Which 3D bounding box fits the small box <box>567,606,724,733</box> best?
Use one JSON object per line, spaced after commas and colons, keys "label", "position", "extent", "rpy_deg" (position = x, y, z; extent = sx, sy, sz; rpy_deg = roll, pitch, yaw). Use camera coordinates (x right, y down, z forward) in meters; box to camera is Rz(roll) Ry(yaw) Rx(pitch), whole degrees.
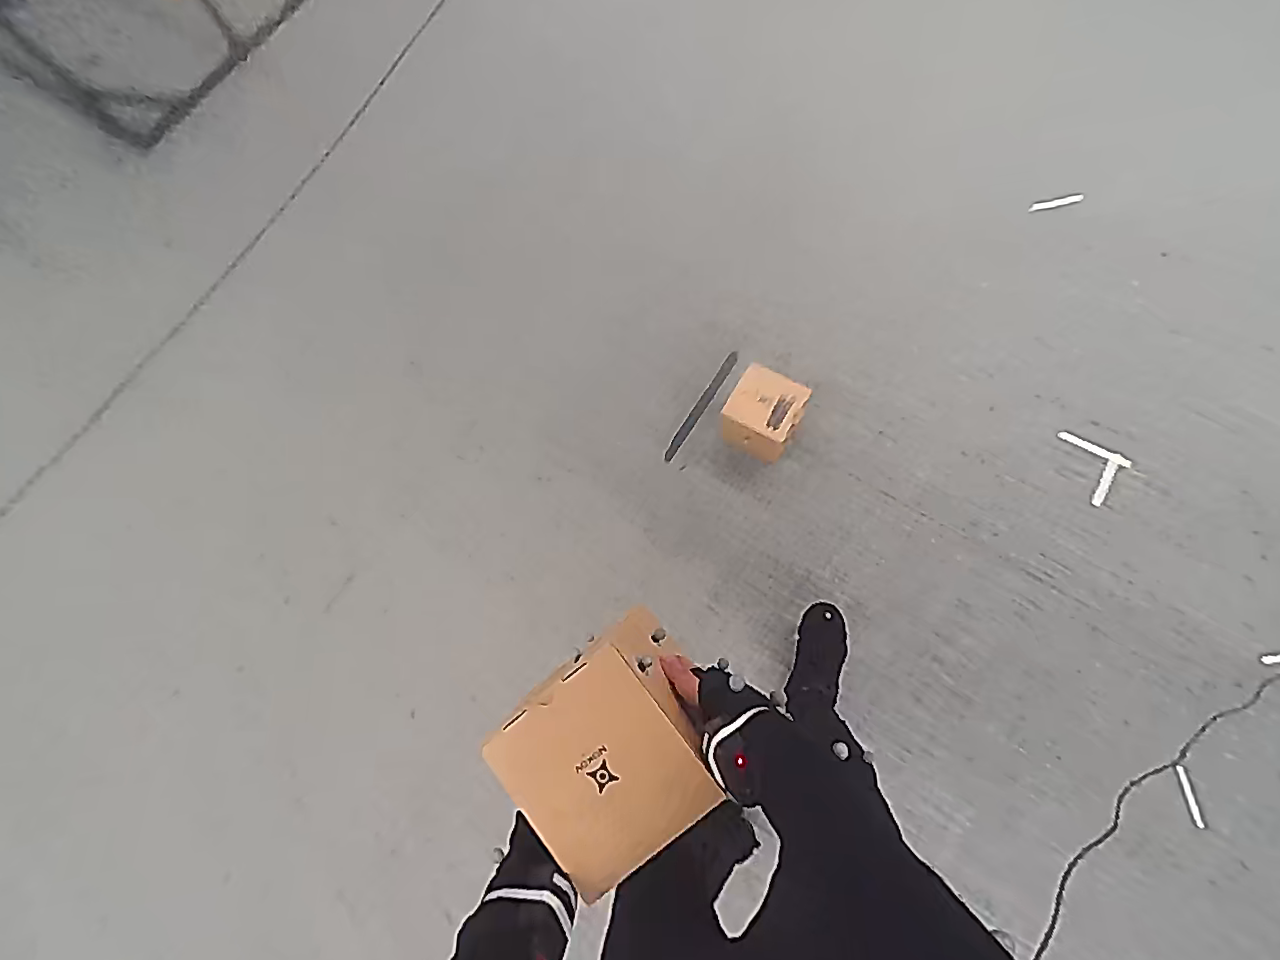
{"label": "small box", "position": [-0.007, 0.289, 0.737], "extent": [0.168, 0.176, 0.179], "rpy_deg": [-39, 83, 1]}

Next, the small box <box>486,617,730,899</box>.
{"label": "small box", "position": [-0.023, 0.271, 0.575], "extent": [0.168, 0.176, 0.179], "rpy_deg": [-38, 82, 2]}
